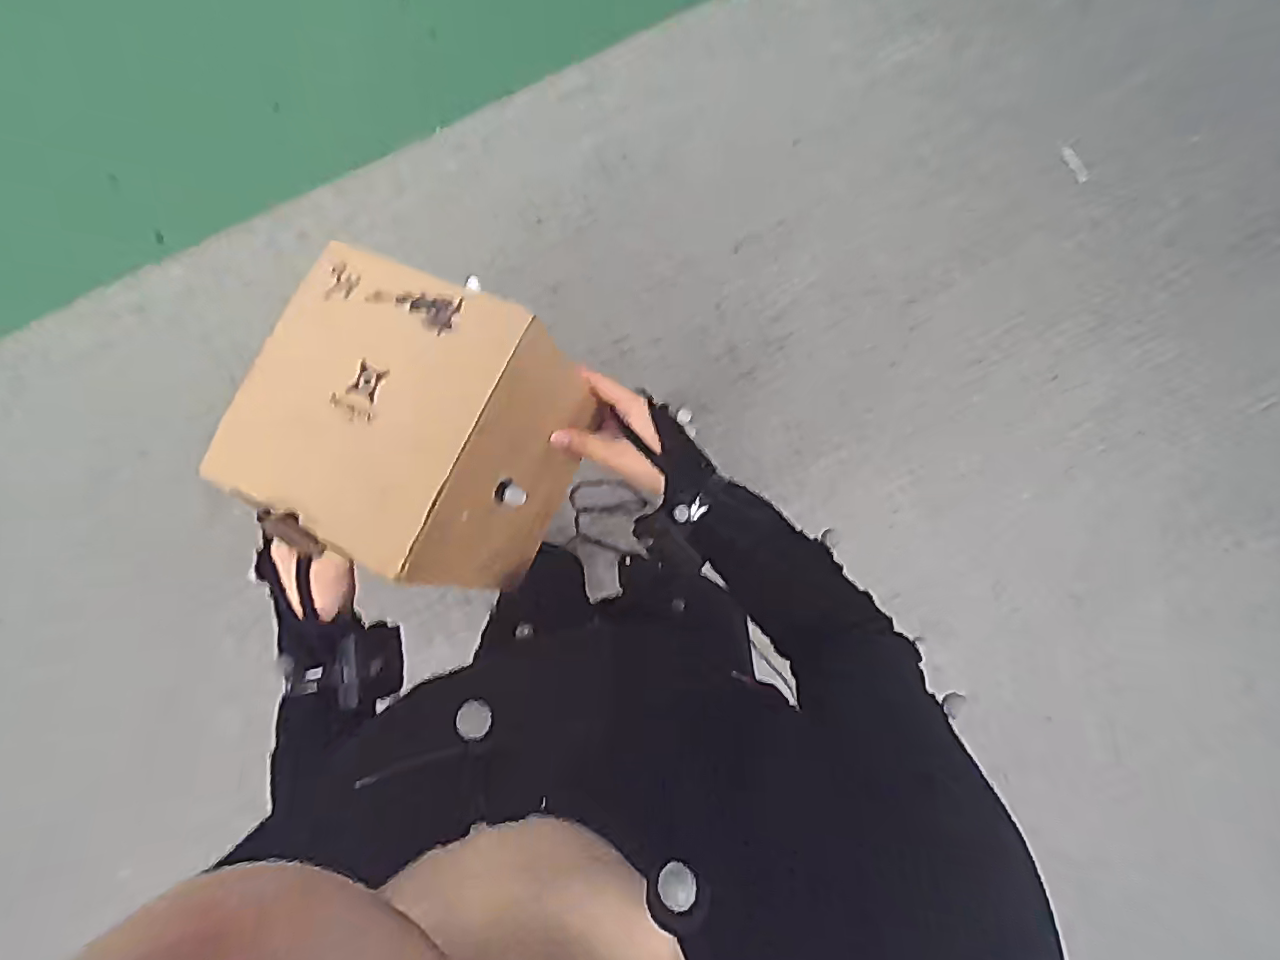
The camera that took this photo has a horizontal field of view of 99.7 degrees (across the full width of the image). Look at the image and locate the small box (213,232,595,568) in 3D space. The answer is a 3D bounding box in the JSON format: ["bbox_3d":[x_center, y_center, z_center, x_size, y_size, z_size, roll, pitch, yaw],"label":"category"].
[{"bbox_3d":[-0.152,-0.043,0.410,0.168,0.176,0.179,23,84,15],"label":"small box"}]
